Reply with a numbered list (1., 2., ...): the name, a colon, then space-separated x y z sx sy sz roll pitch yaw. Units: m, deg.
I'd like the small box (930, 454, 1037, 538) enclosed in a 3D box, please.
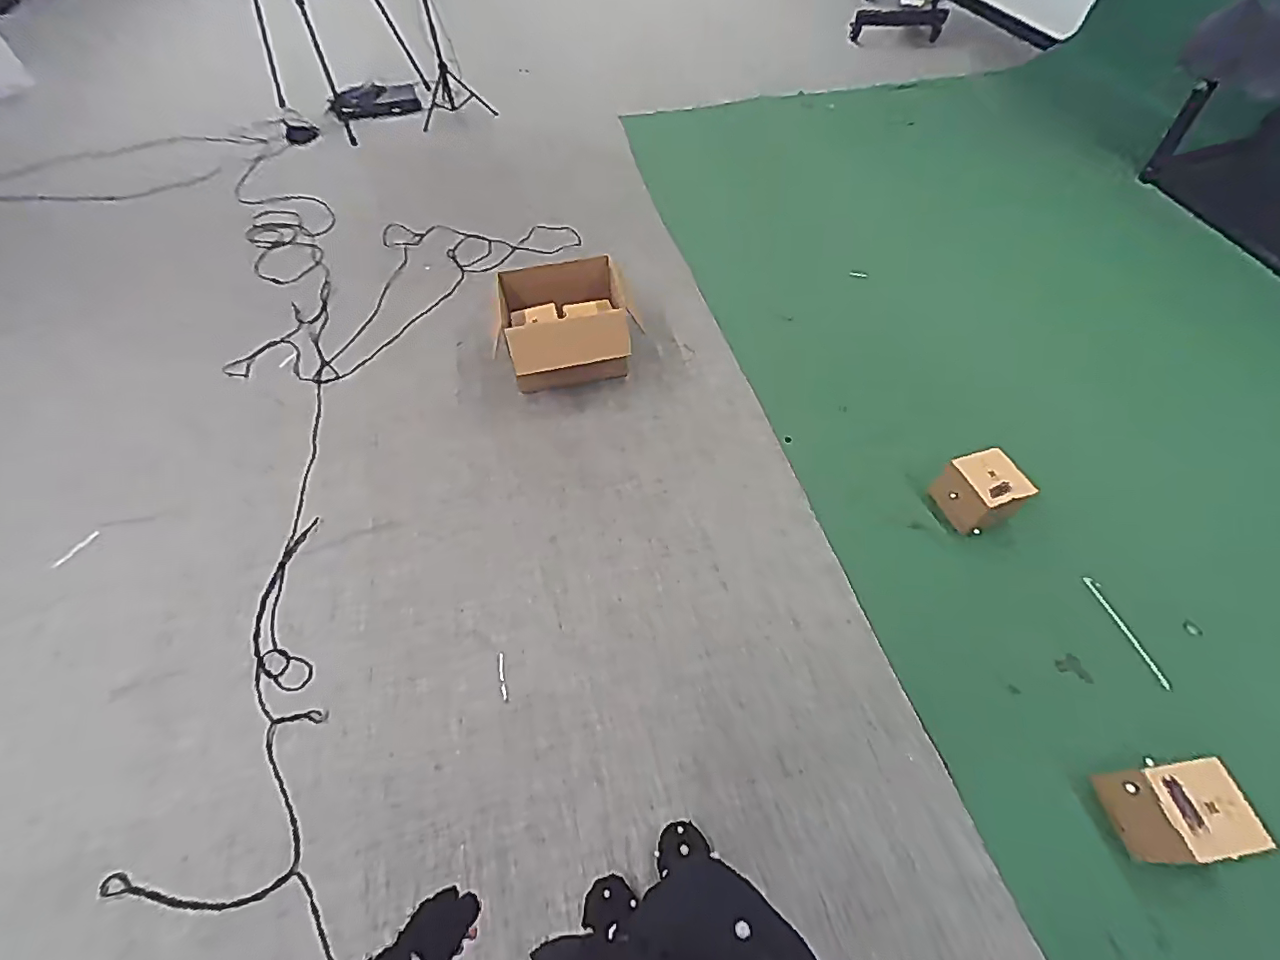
1. small box: 1.013 0.054 1.610 0.168 0.176 0.179 -14 55 -9
